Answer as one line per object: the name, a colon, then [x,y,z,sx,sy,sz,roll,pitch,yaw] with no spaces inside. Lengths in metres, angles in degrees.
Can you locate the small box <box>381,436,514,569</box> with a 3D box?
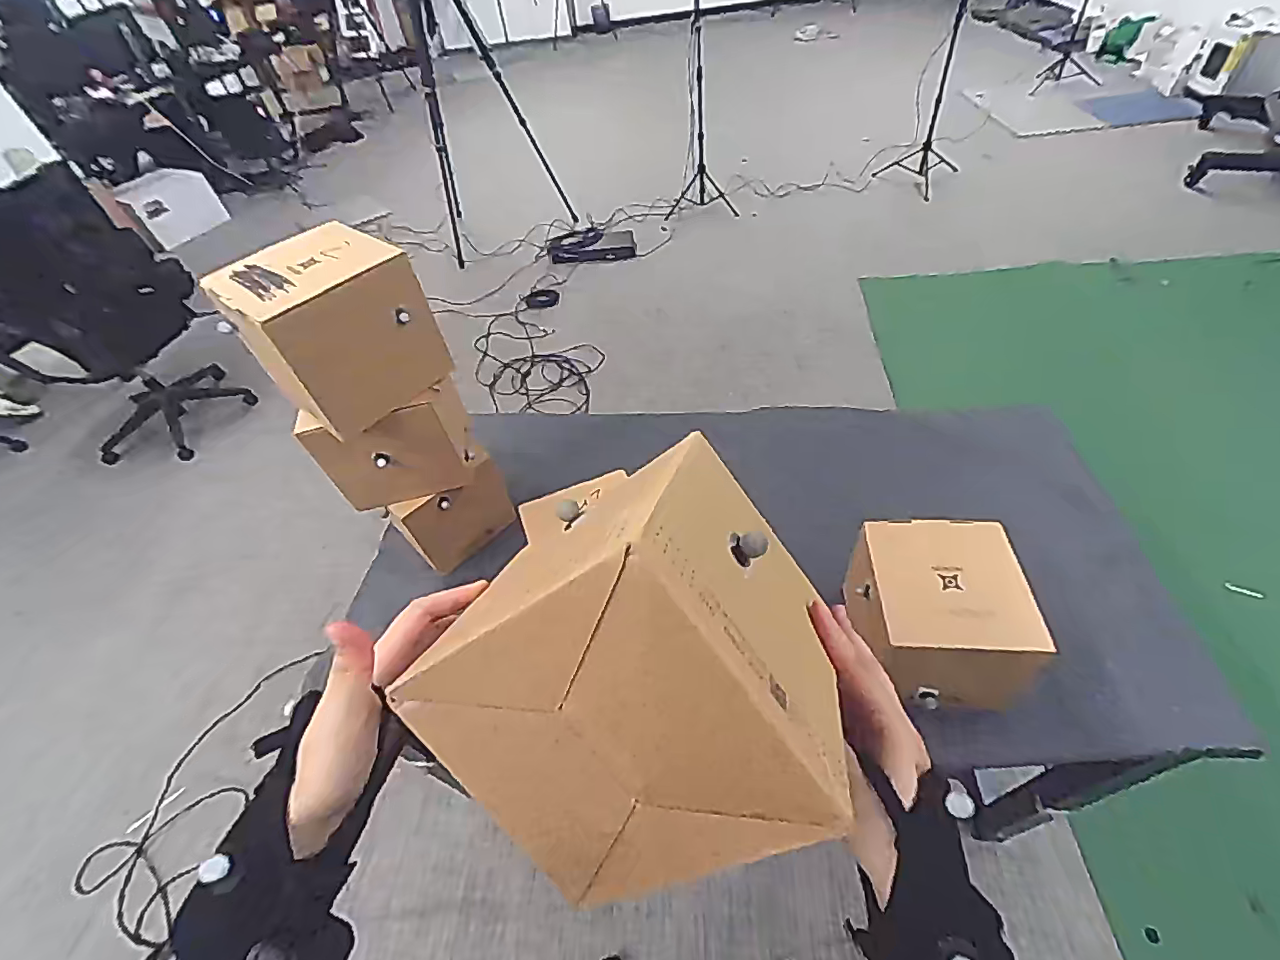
small box: [-0.347,0.020,0.928,0.179,0.176,0.168,34,61,31]

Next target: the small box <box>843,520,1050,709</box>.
small box: [0.366,0.169,0.690,0.168,0.176,0.179,-1,48,9]

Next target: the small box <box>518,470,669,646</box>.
small box: [-0.063,0.121,0.796,0.168,0.176,0.179,-19,48,-10]

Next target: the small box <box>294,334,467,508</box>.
small box: [-0.365,-0.084,0.801,0.179,0.176,0.168,-15,49,-4]
